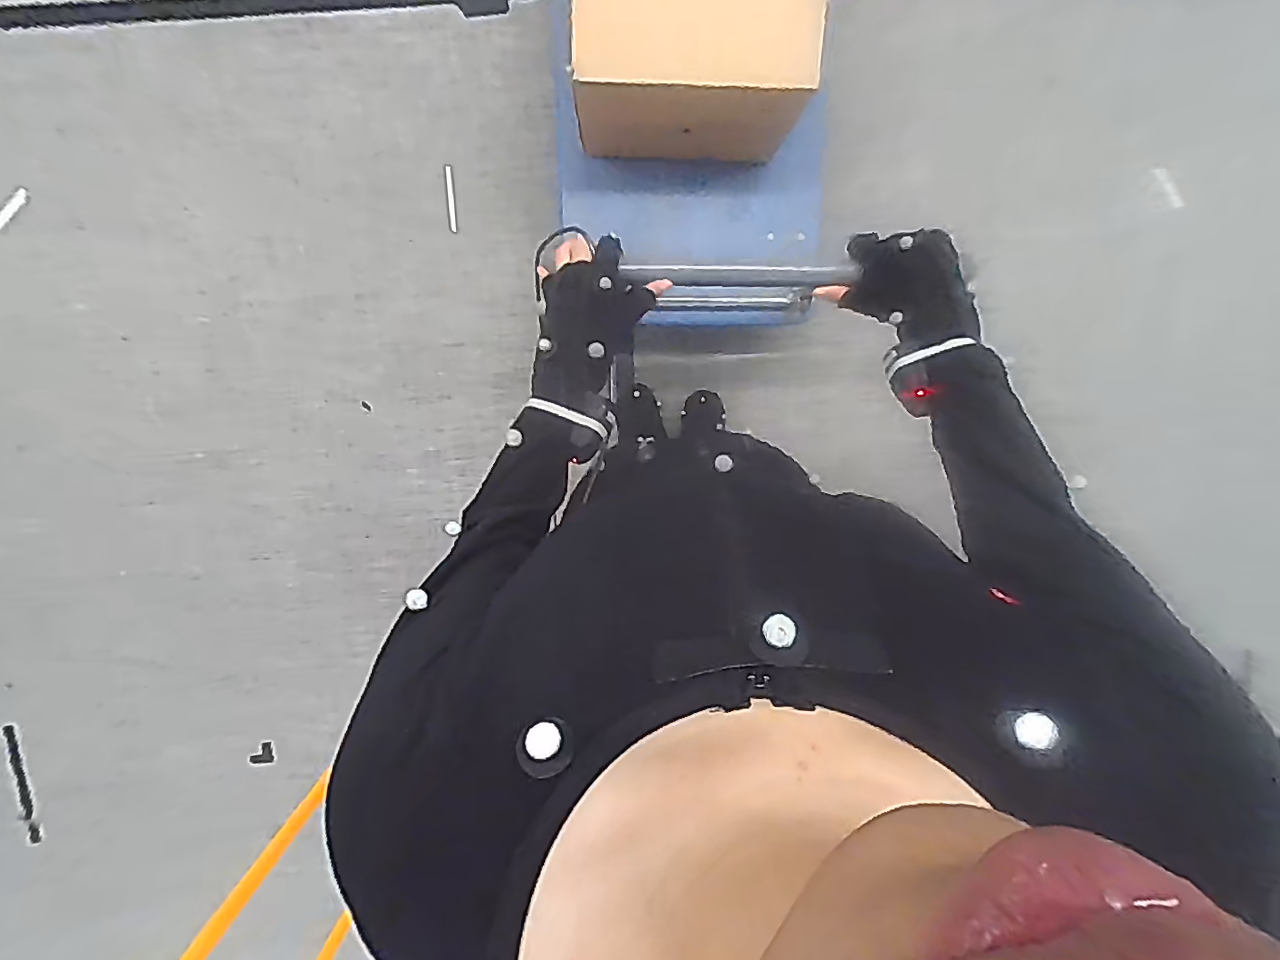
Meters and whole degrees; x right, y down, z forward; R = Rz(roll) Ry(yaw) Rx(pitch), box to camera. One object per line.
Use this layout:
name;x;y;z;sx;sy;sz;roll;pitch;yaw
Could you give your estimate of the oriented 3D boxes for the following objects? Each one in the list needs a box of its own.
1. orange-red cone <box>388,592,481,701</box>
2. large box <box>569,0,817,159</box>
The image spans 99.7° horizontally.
orange-red cone;-0.550;0.444;1.372;0.198;0.360;0.199;5;99;-3
large box;0.085;-0.817;1.001;0.408;0.320;0.320;1;101;-1
